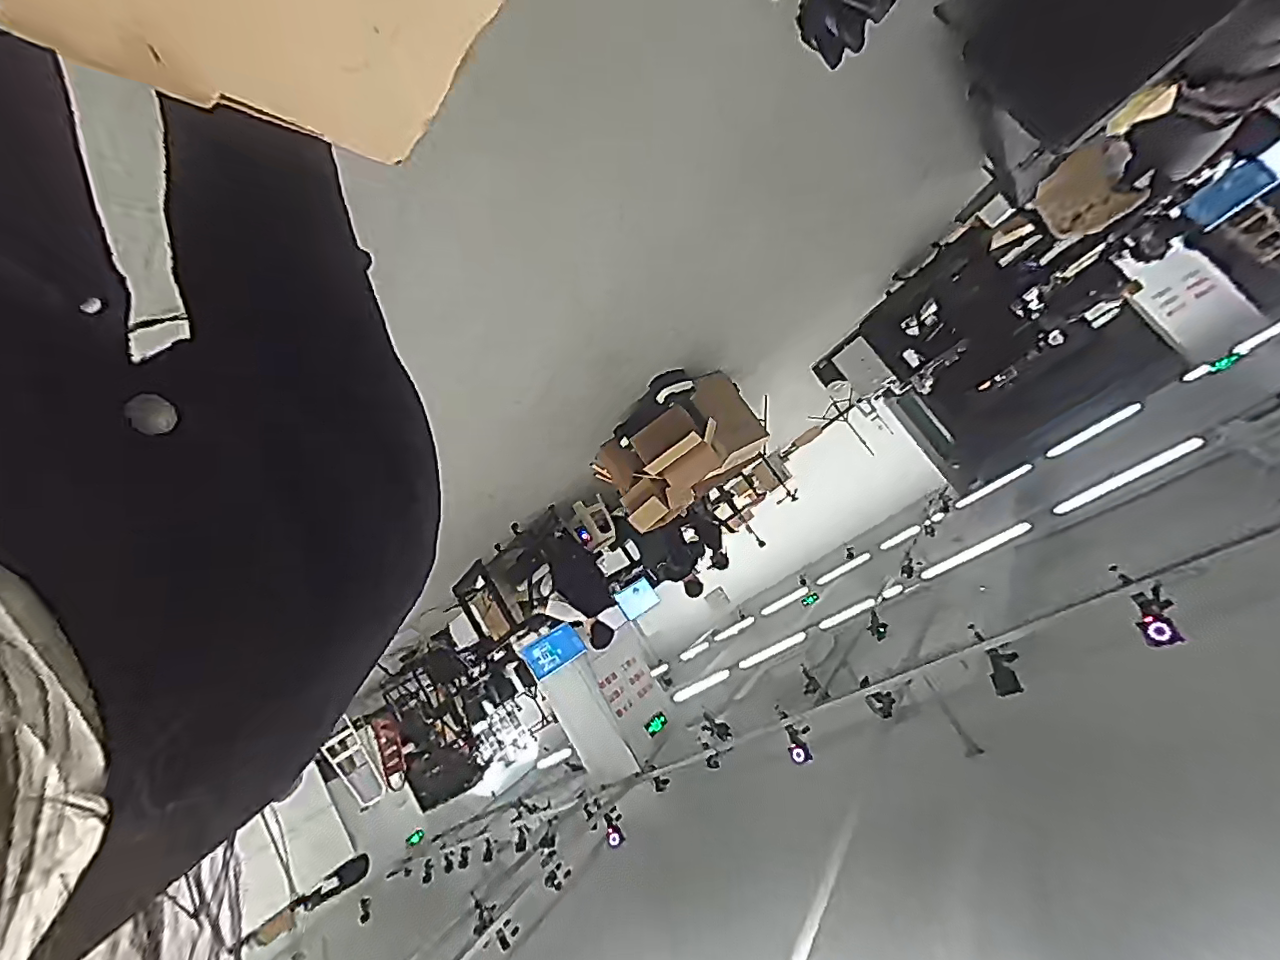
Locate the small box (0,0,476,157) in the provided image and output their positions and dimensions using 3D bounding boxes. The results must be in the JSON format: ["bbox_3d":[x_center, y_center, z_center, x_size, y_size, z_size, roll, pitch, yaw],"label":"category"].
[{"bbox_3d":[-0.123,-0.226,0.112,0.179,0.176,0.168,-36,172,29],"label":"small box"}]
